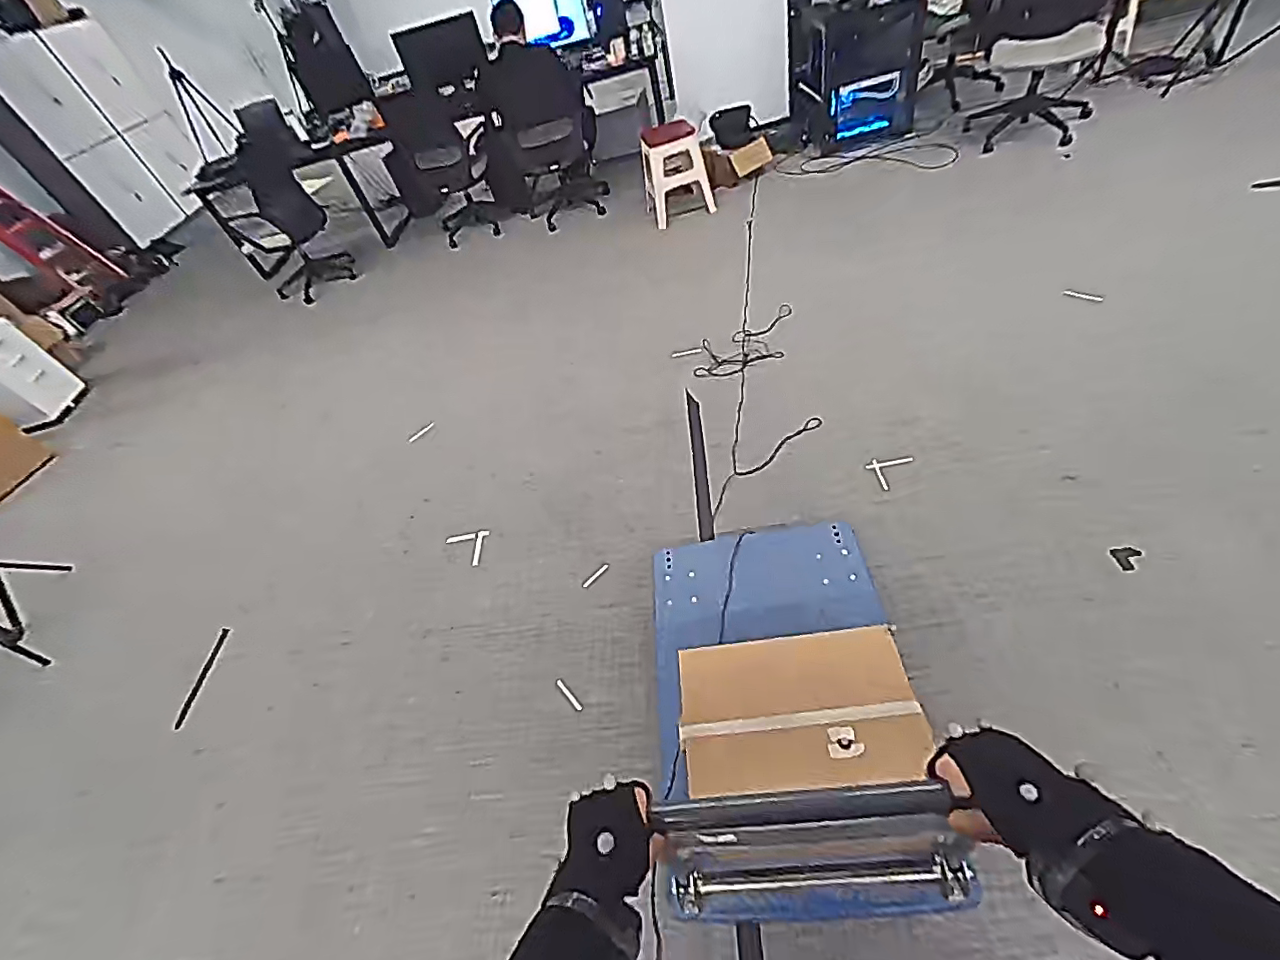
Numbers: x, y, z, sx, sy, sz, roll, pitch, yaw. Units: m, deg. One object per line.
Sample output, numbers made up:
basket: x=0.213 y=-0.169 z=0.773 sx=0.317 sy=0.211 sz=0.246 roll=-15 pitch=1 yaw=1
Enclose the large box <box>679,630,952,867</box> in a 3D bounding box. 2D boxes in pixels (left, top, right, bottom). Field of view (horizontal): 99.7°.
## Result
large box: x=0.304 y=0.525 z=1.045 sx=0.408 sy=0.320 sz=0.320 roll=-9 pitch=47 yaw=8
